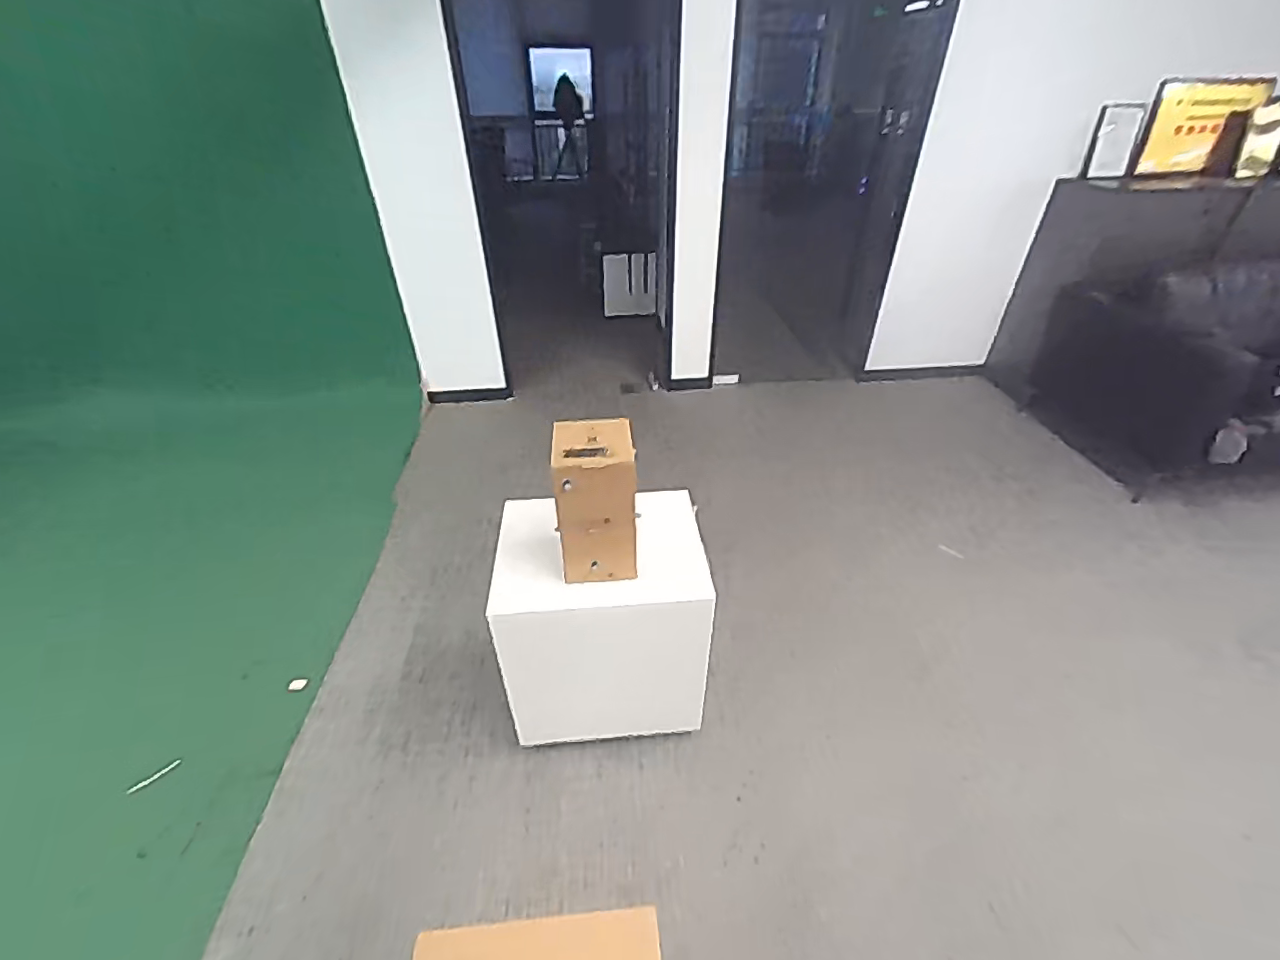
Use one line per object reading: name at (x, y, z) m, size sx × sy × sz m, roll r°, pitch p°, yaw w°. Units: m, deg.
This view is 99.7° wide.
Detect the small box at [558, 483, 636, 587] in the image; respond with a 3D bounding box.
small box at (-0.100, 0.125, 1.254) m, size 0.168 × 0.176 × 0.179 m, roll -4°, pitch 35°, yaw -5°
